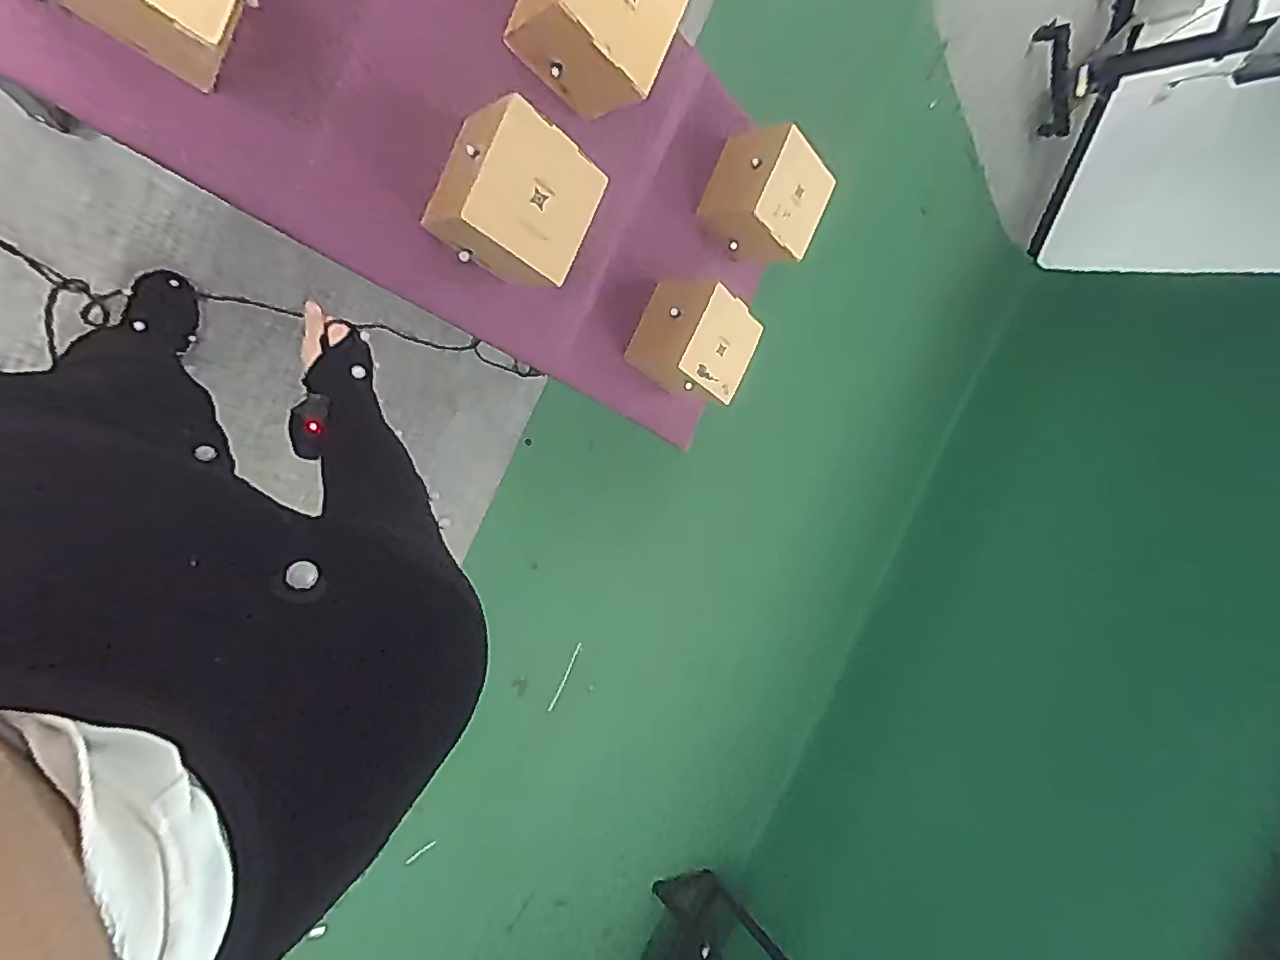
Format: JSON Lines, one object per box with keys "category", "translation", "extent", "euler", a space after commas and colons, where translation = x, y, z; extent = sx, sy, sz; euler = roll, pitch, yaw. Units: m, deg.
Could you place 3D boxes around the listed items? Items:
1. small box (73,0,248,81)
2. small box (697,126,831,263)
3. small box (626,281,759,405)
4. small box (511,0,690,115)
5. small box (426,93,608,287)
{"category": "small box", "translation": [-0.459, -0.519, 0.497], "extent": [0.168, 0.176, 0.179], "euler": [21, 91, -44]}
{"category": "small box", "translation": [0.243, -0.558, 1.082], "extent": [0.168, 0.176, 0.179], "euler": [23, 92, -41]}
{"category": "small box", "translation": [0.101, -0.274, 1.079], "extent": [0.168, 0.176, 0.179], "euler": [27, 86, -42]}
{"category": "small box", "translation": [-0.060, -0.675, 0.782], "extent": [0.168, 0.176, 0.179], "euler": [22, 94, -44]}
{"category": "small box", "translation": [-0.184, -0.404, 0.785], "extent": [0.168, 0.176, 0.179], "euler": [25, 90, -43]}
